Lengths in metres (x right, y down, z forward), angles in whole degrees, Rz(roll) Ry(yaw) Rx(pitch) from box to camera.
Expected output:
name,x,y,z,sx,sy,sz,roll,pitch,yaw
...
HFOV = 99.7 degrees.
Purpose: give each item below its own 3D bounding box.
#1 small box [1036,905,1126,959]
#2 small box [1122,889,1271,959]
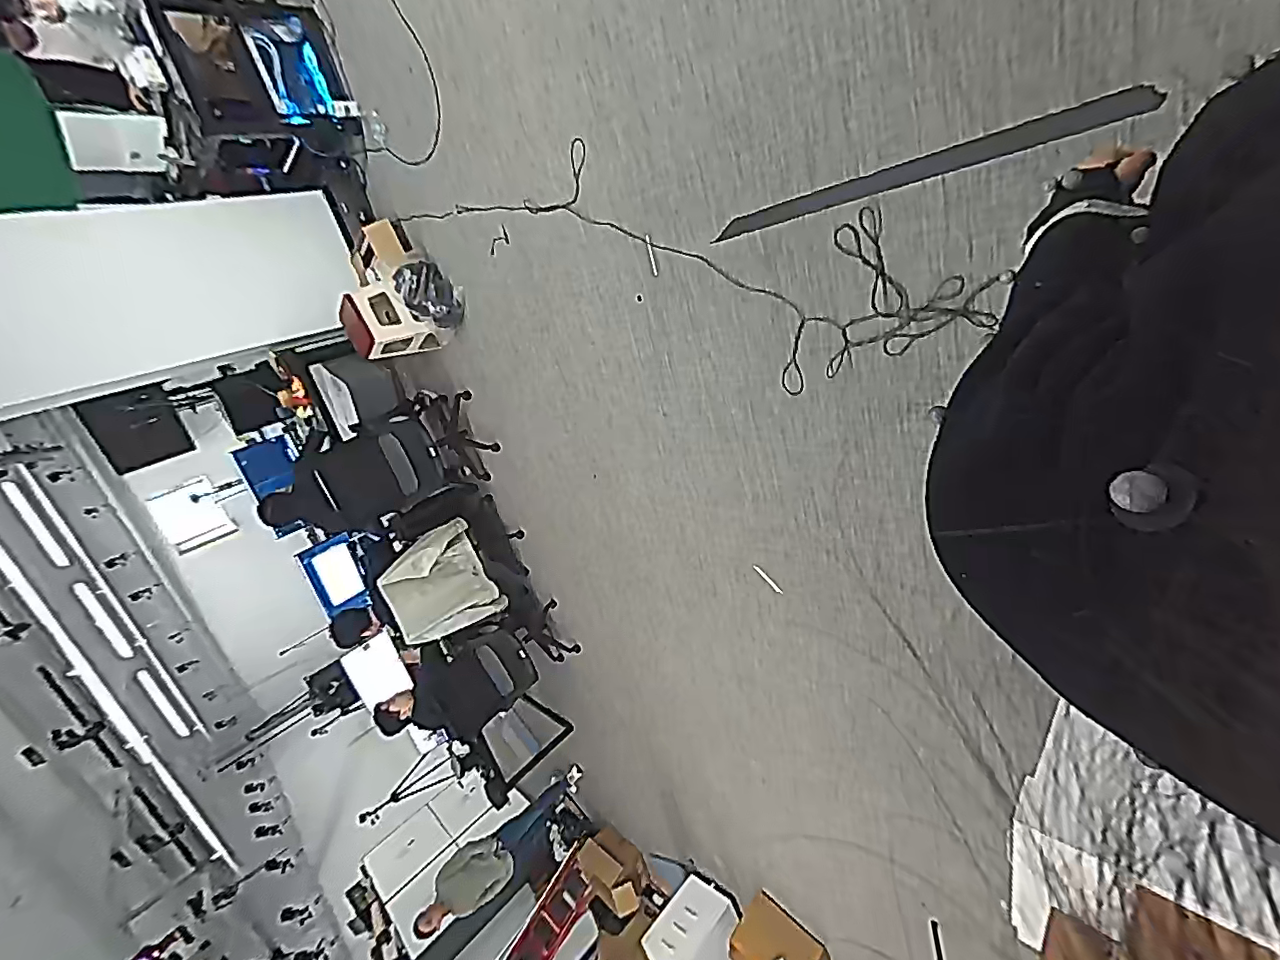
name,x,y,z,sx,sy,sz,roll,pitch,yaw
small box,0.887,1.007,1.062,0.168,0.176,0.179,7,118,45
small box,0.924,0.849,0.905,0.168,0.176,0.179,11,124,45
